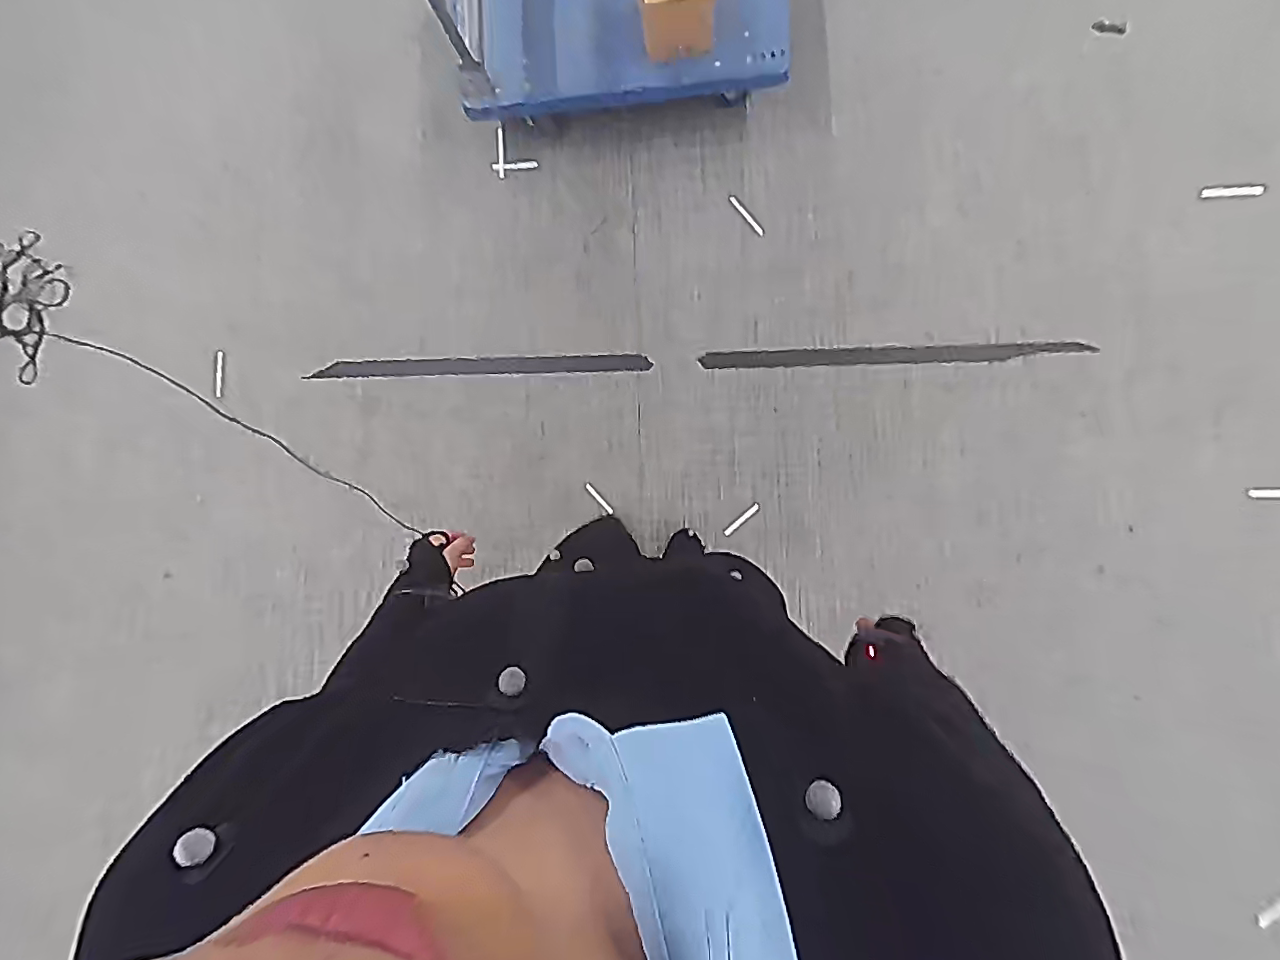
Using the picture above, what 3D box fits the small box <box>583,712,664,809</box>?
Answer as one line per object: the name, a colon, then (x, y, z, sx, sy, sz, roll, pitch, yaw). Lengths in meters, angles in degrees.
small box: (-0.036, 0.722, 1.378, 0.168, 0.176, 0.179, -13, 85, 2)
